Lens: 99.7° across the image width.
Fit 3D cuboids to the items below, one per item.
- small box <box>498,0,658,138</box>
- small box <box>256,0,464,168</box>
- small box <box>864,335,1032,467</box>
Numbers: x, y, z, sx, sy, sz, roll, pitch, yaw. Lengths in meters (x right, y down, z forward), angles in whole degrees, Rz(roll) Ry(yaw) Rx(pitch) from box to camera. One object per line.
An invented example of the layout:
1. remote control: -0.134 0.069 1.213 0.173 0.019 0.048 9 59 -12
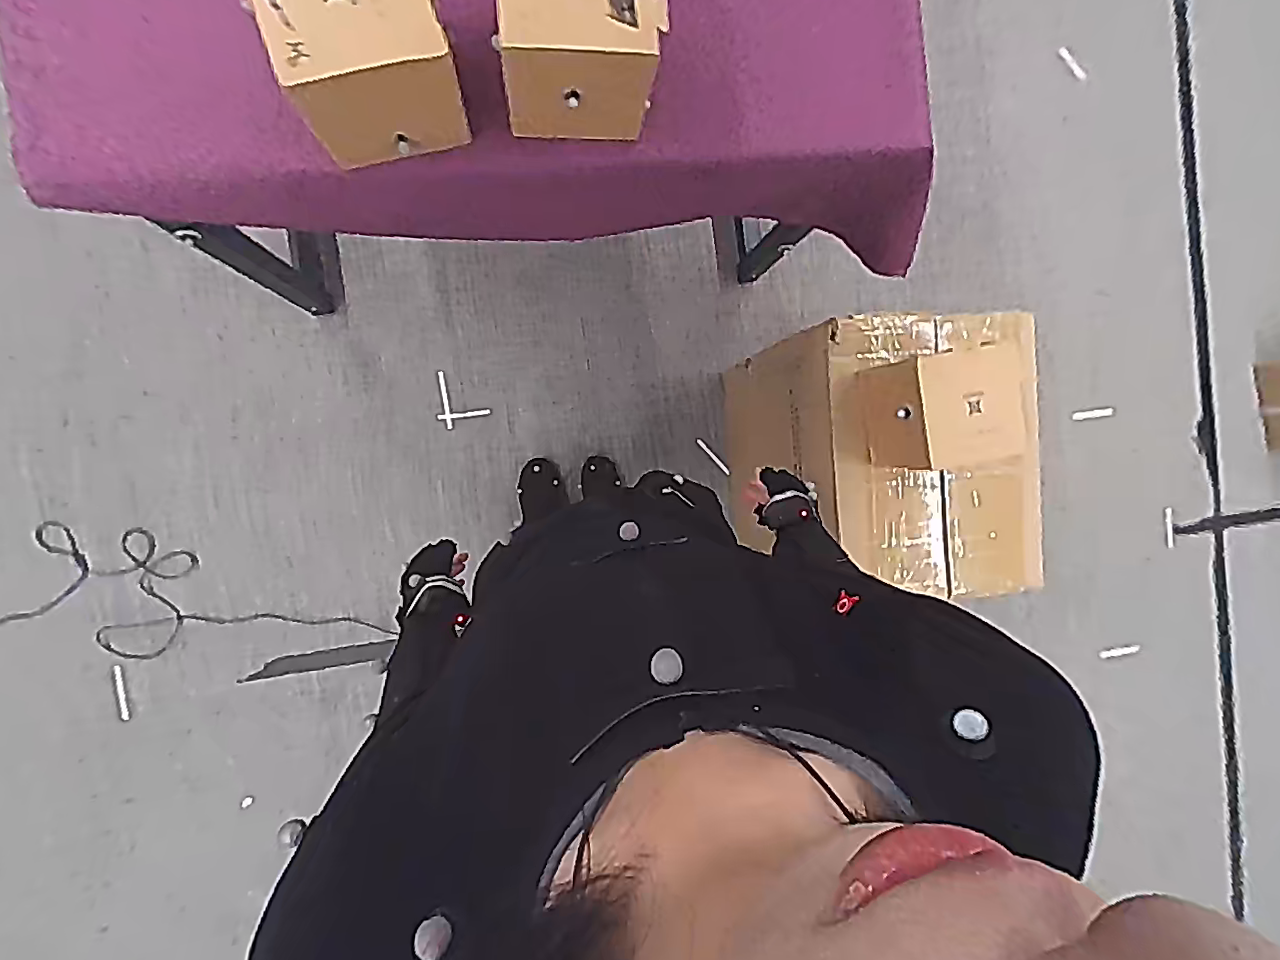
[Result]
1. small box: -0.080 -0.554 0.669 0.179 0.176 0.168 -4 92 -8
2. small box: -0.318 -0.504 0.635 0.179 0.176 0.168 -19 94 -9
3. small box: 0.488 -0.121 0.880 0.168 0.176 0.179 -12 95 -6
